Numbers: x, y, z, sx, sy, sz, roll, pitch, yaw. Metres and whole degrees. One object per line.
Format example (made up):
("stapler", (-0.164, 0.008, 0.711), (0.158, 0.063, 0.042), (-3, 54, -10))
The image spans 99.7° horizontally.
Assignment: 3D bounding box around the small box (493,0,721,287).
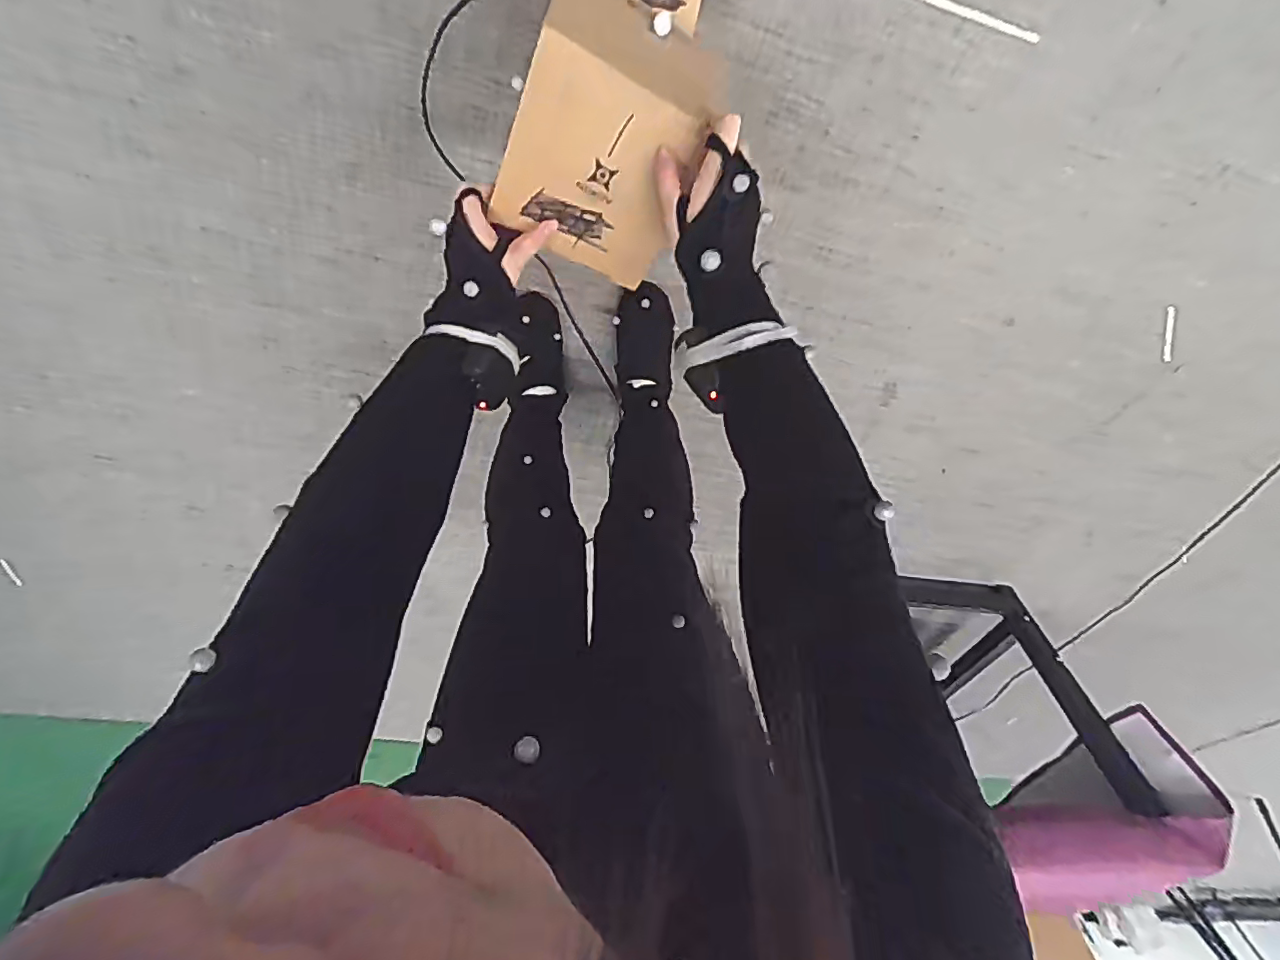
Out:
("small box", (-0.030, -0.342, 0.544), (0.168, 0.176, 0.179), (19, 143, -20))
